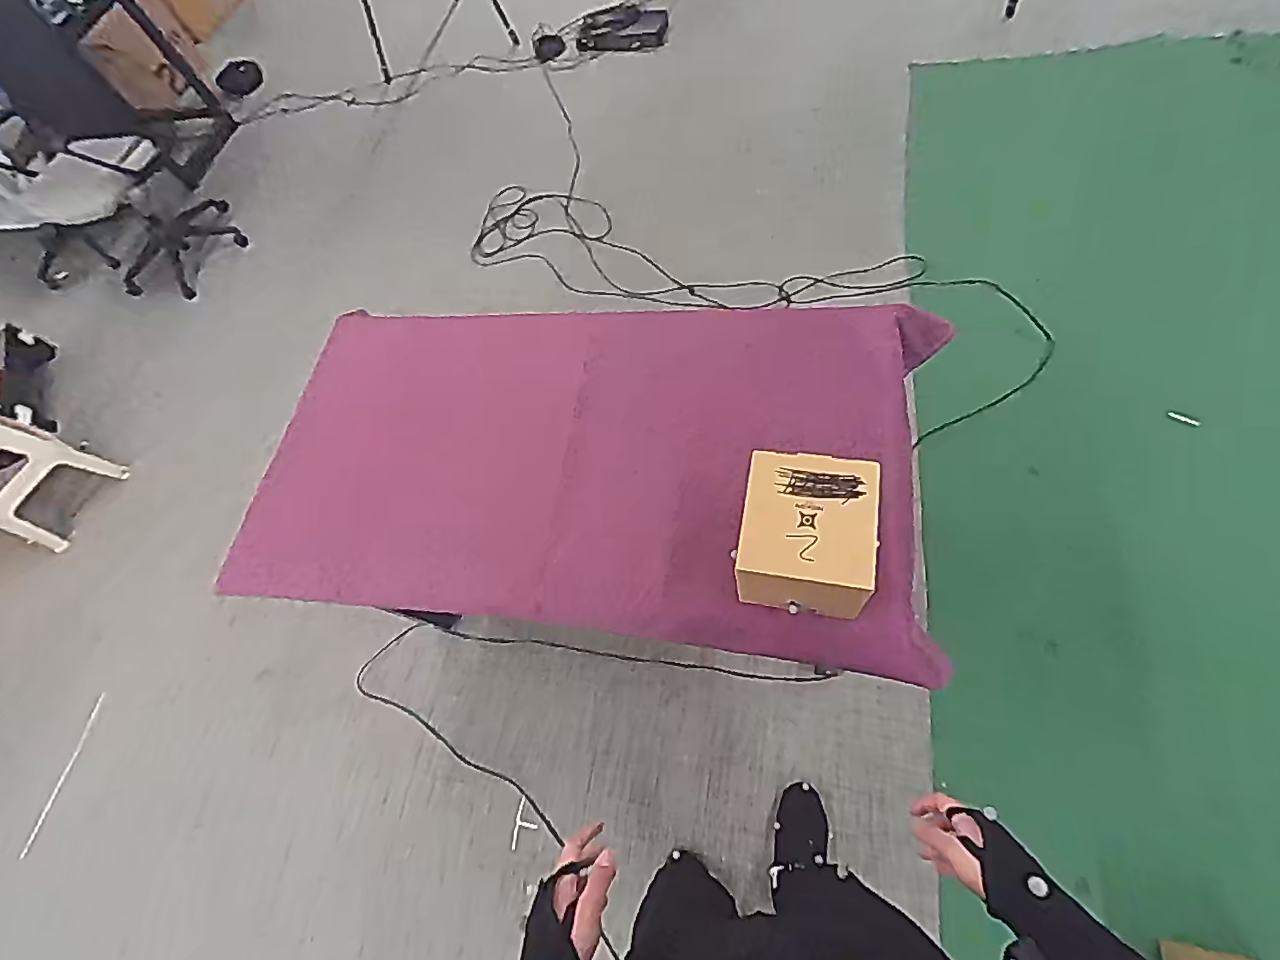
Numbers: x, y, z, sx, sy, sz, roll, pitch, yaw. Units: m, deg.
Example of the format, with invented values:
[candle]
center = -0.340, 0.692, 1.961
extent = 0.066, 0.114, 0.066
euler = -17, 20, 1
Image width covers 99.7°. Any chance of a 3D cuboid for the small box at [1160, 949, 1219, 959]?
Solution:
[small box]
center = 1.098, 0.981, 0.964
extent = 0.179, 0.176, 0.168
euler = 4, 65, 15
